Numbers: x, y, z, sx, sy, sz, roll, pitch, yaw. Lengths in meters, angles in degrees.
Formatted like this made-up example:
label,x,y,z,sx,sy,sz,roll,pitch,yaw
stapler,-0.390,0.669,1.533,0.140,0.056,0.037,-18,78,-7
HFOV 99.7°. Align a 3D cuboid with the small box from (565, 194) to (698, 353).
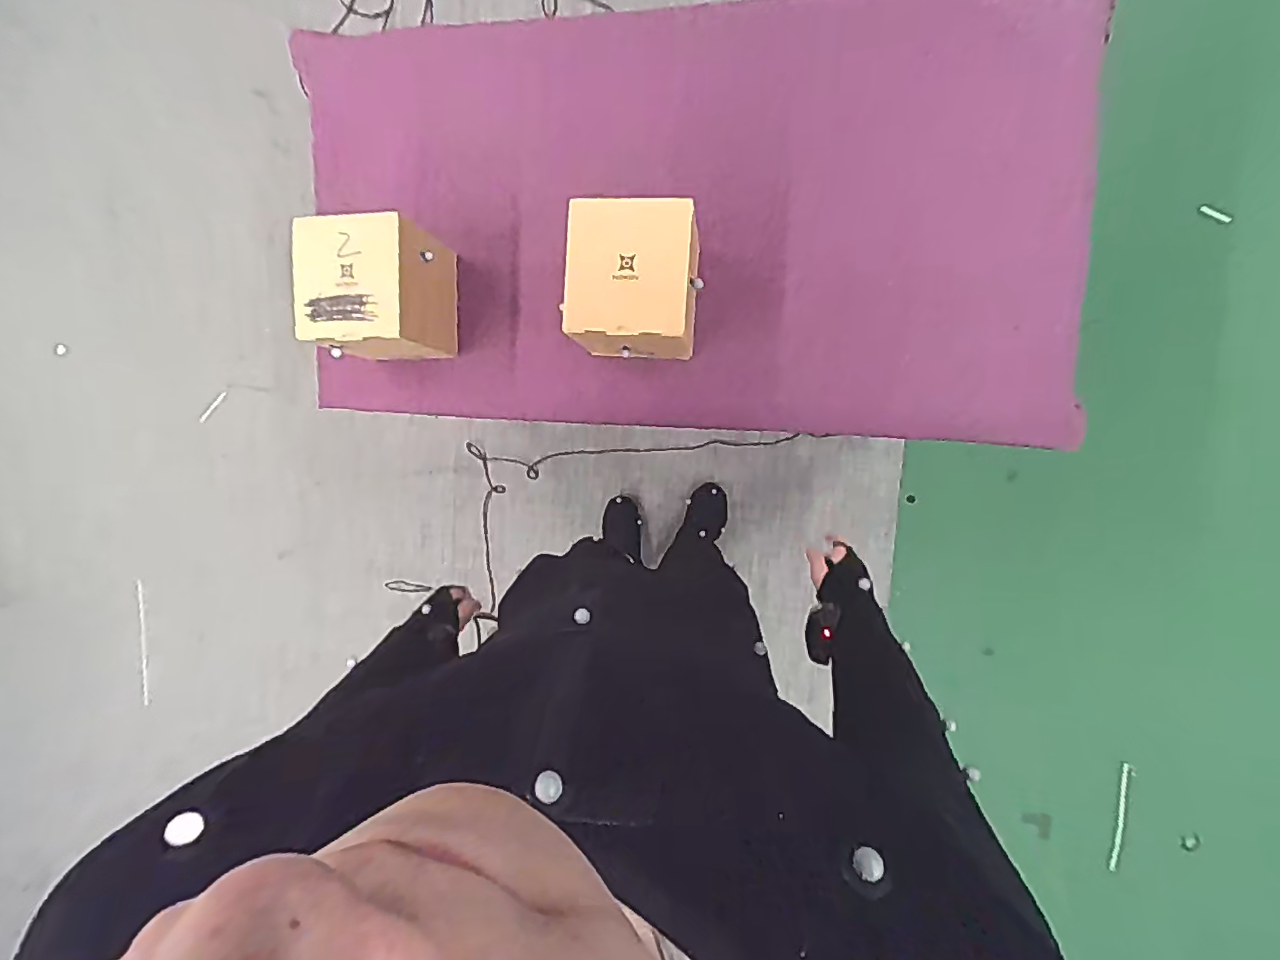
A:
label,x,y,z,sx,sy,sz,roll,pitch,yaw
small box,-0.004,-0.288,0.784,0.168,0.176,0.179,4,95,8
